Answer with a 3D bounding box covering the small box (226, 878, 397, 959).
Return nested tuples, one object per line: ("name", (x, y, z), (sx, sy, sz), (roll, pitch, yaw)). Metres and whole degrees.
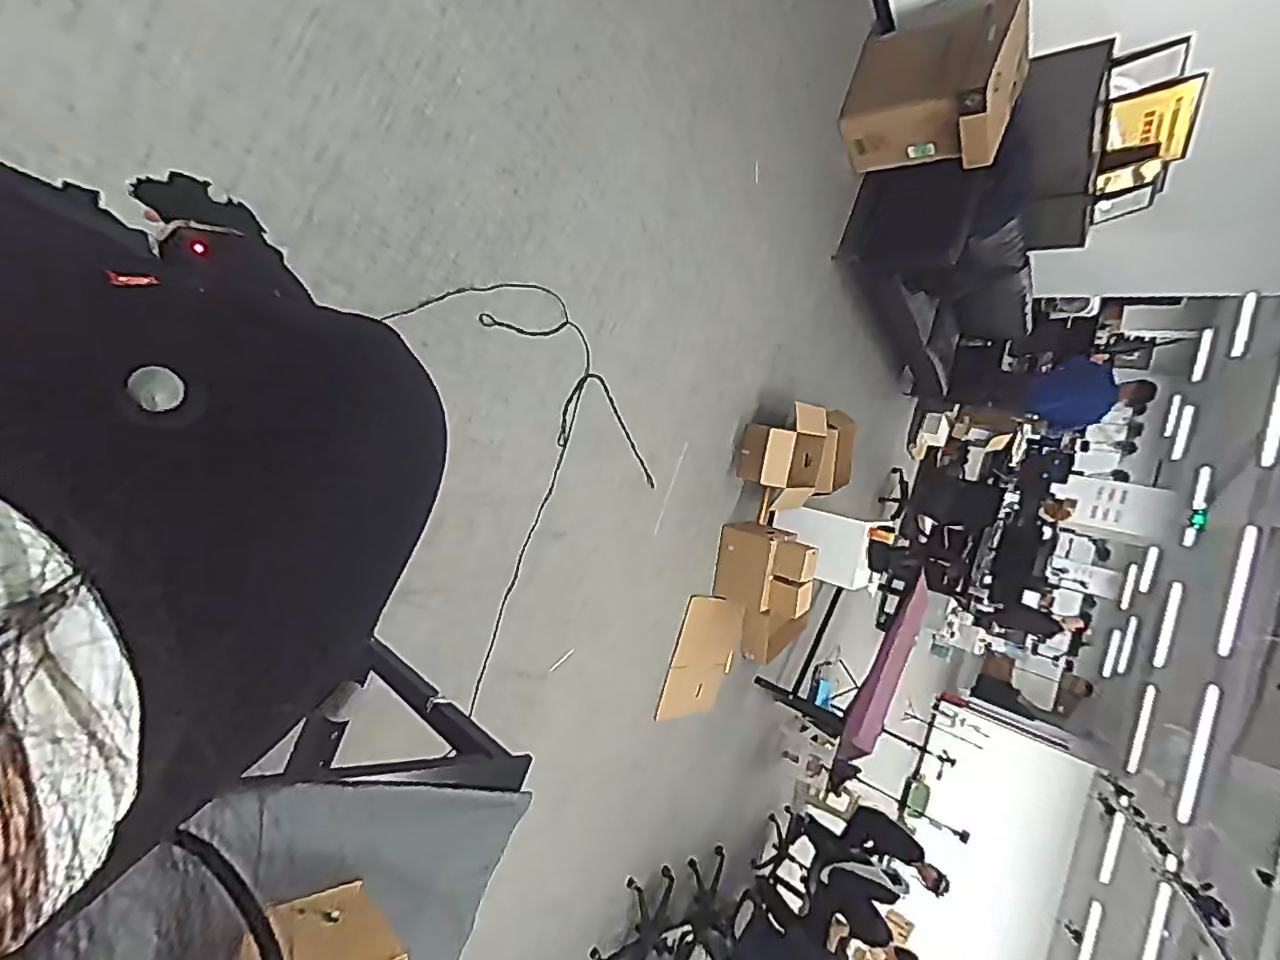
("small box", (-0.493, 0.737, 0.784), (0.168, 0.176, 0.179), (25, 82, -50))
